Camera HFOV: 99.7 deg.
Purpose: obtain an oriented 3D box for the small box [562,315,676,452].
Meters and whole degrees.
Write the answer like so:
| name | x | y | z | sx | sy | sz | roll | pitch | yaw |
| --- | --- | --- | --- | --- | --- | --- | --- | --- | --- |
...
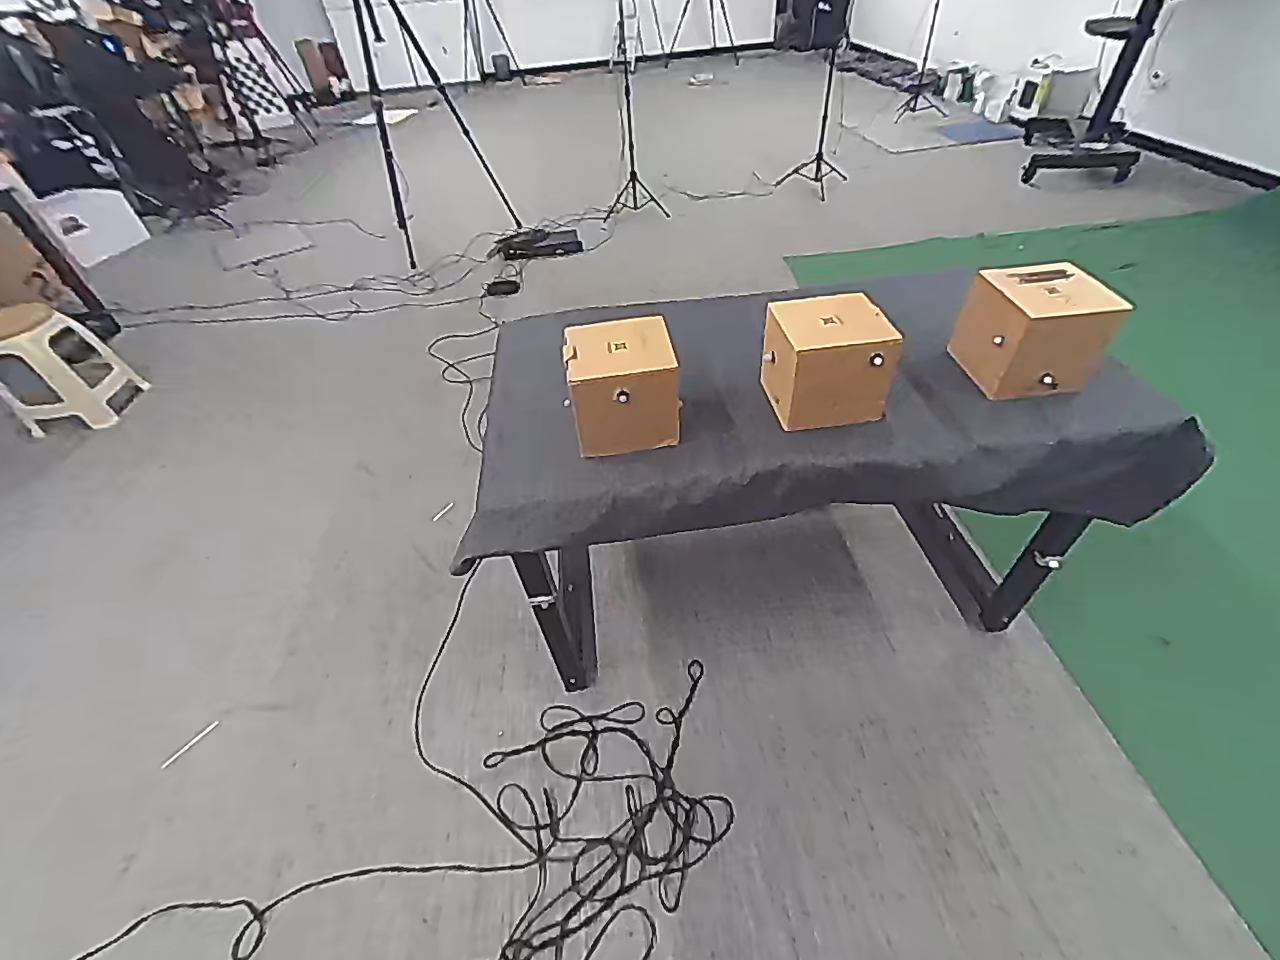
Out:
| name | x | y | z | sx | sy | sz | roll | pitch | yaw |
| --- | --- | --- | --- | --- | --- | --- | --- | --- | --- |
| small box | -0.035 | -0.165 | 0.941 | 0.179 | 0.176 | 0.168 | -7 | 46 | -4 |

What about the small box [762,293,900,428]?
| name | x | y | z | sx | sy | sz | roll | pitch | yaw |
| --- | --- | --- | --- | --- | --- | --- | --- | --- | --- |
| small box | 0.320 | -0.207 | 0.955 | 0.179 | 0.176 | 0.168 | -7 | 44 | -2 |
